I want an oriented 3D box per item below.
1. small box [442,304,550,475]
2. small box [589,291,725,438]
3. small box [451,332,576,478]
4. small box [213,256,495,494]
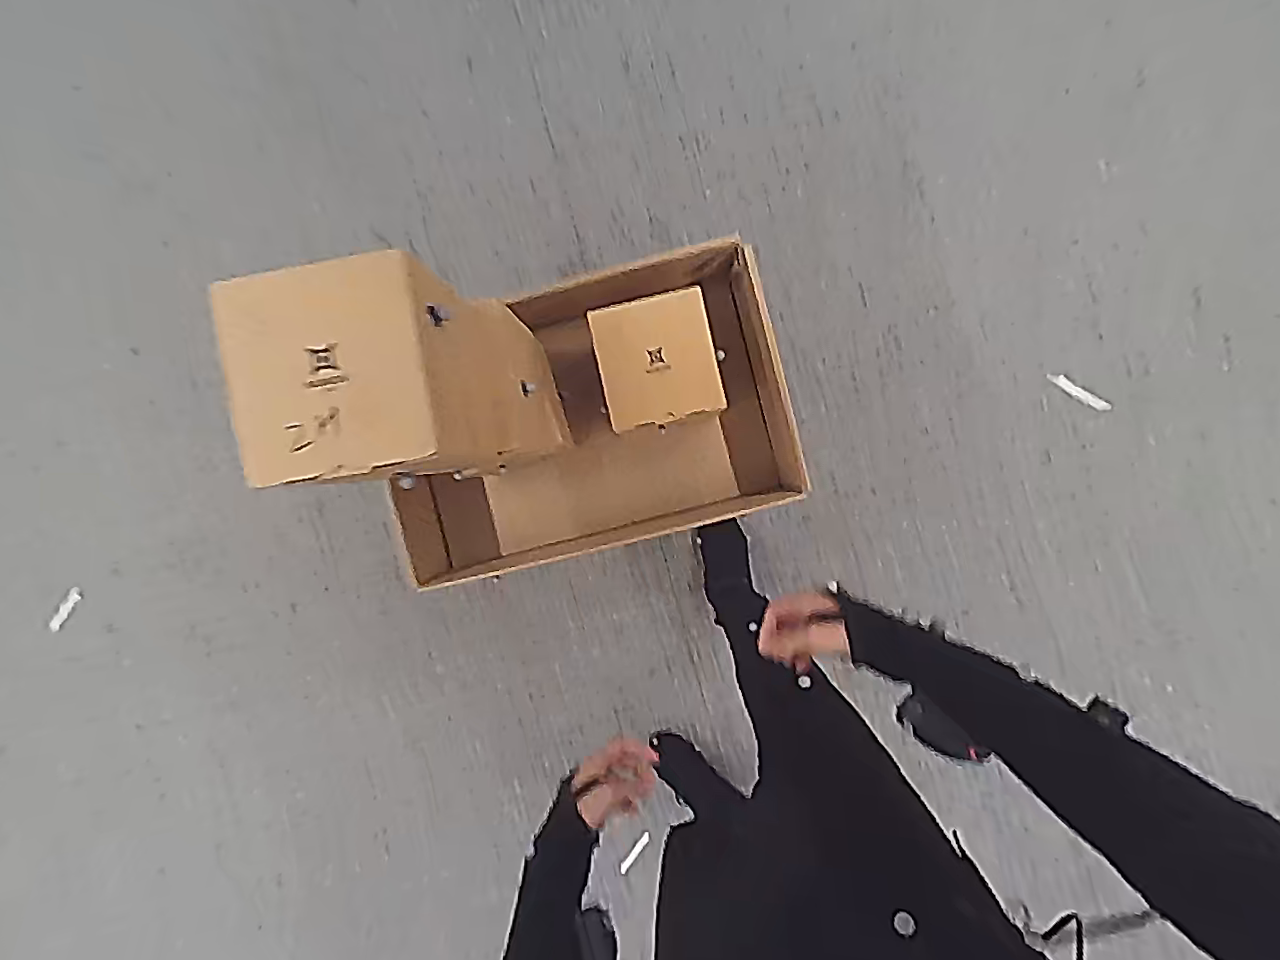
[{"bbox_3d":[-0.219,-0.101,0.684,0.168,0.176,0.179,-11,91,1],"label":"small box"},{"bbox_3d":[0.026,-0.167,0.840,0.168,0.176,0.179,-13,92,3],"label":"small box"},{"bbox_3d":[-0.210,-0.106,0.847,0.168,0.176,0.179,-17,91,3],"label":"small box"},{"bbox_3d":[-0.253,-0.087,0.521,0.168,0.176,0.179,-10,92,2],"label":"small box"}]
